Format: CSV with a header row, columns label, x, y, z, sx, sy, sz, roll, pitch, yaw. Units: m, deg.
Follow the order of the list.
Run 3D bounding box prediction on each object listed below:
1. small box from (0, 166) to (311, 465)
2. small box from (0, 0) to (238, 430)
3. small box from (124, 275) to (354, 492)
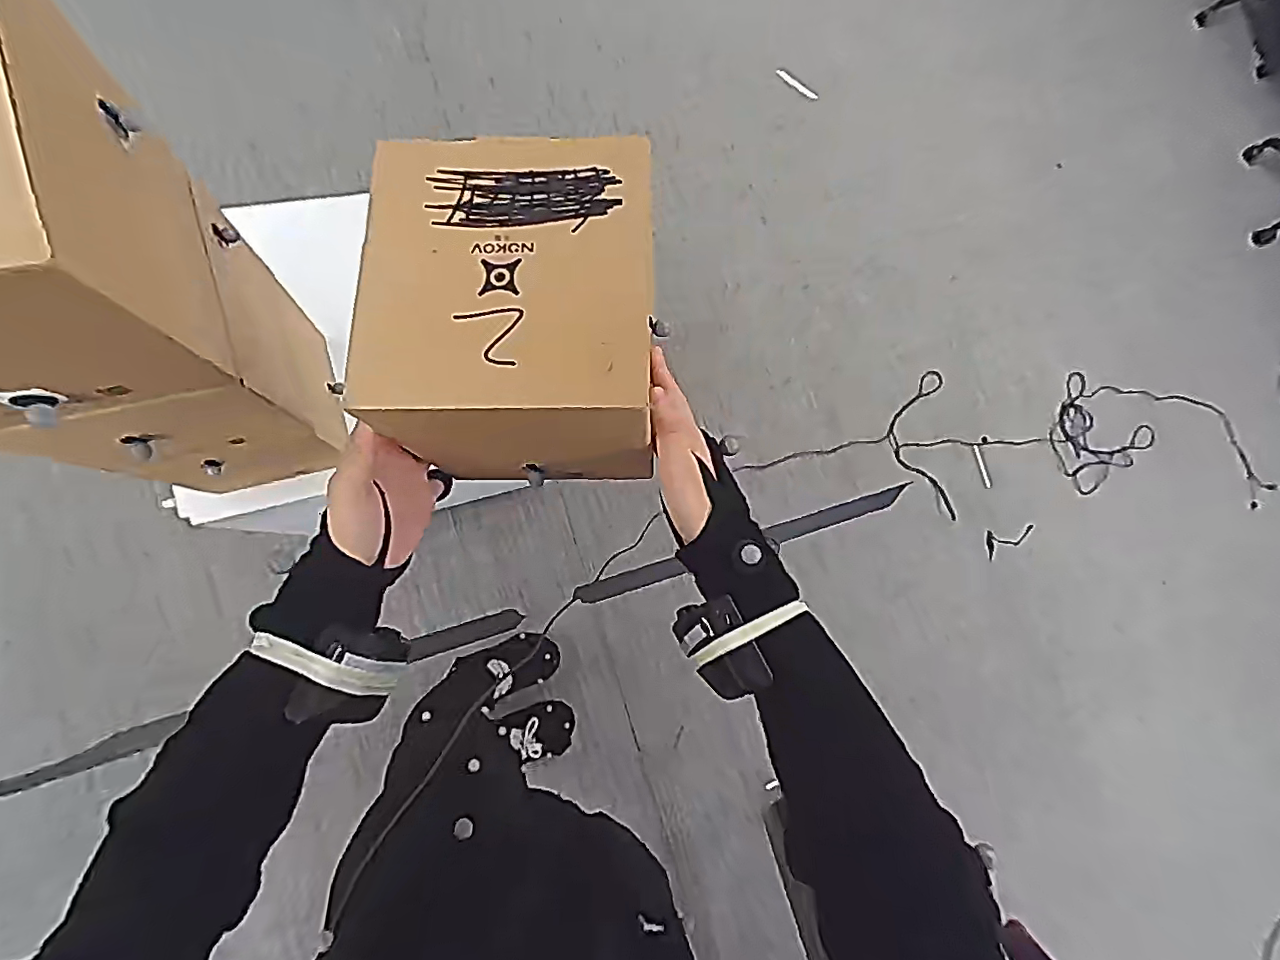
label,x,y,z,sx,sy,sz,roll,pitch,yaw
small box,-0.401,-0.117,0.445,0.168,0.176,0.179,-16,86,-16
small box,-0.361,-0.141,0.289,0.168,0.176,0.179,-17,87,-15
small box,-0.442,-0.097,0.602,0.168,0.176,0.179,-15,85,-16
